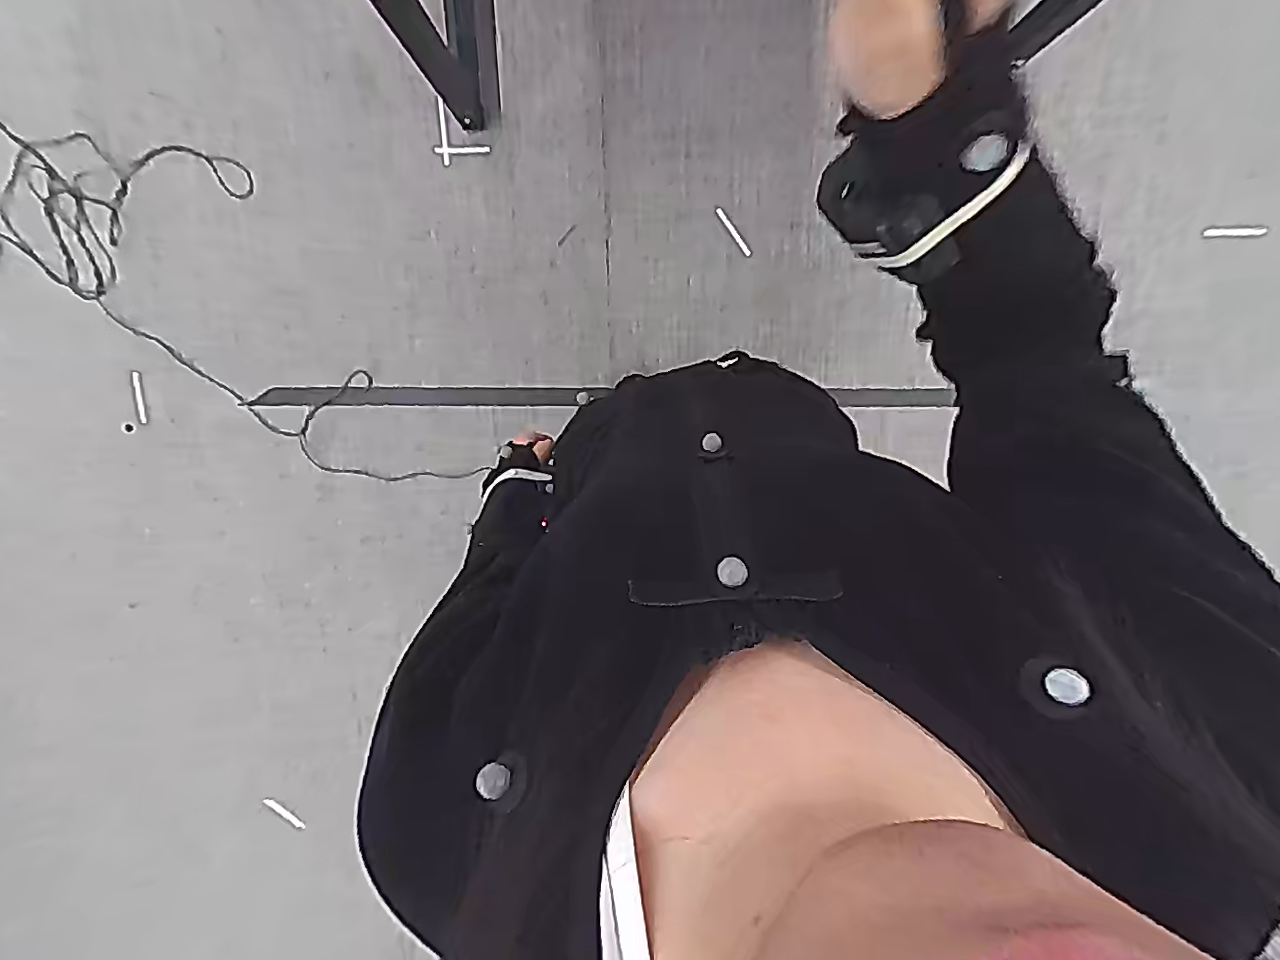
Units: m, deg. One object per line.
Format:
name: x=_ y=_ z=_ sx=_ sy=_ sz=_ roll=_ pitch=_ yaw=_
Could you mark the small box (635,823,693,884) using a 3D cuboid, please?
small box: x=0.073 y=1.182 z=1.653 sx=0.168 sy=0.176 sz=0.179 roll=-4 pitch=102 yaw=1
